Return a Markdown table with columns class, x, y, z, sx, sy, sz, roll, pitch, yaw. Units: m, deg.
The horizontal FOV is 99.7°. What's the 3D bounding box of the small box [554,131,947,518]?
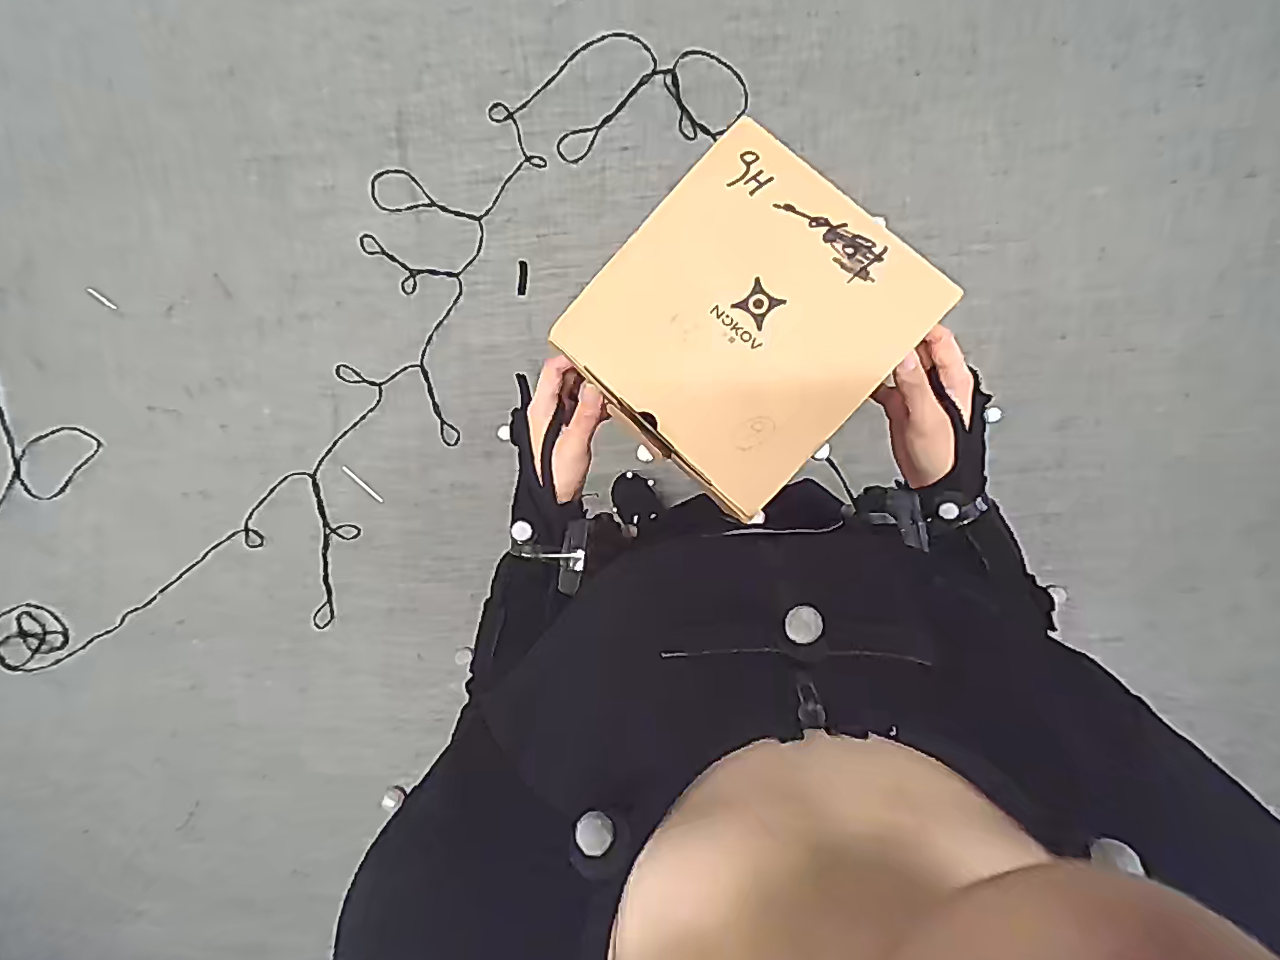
| class | x | y | z | sx | sy | sz | roll | pitch | yaw |
| --- | --- | --- | --- | --- | --- | --- | --- | --- | --- |
| small box | 0.072 | -0.091 | 0.399 | 0.168 | 0.176 | 0.179 | 42 | 95 | 7 |
